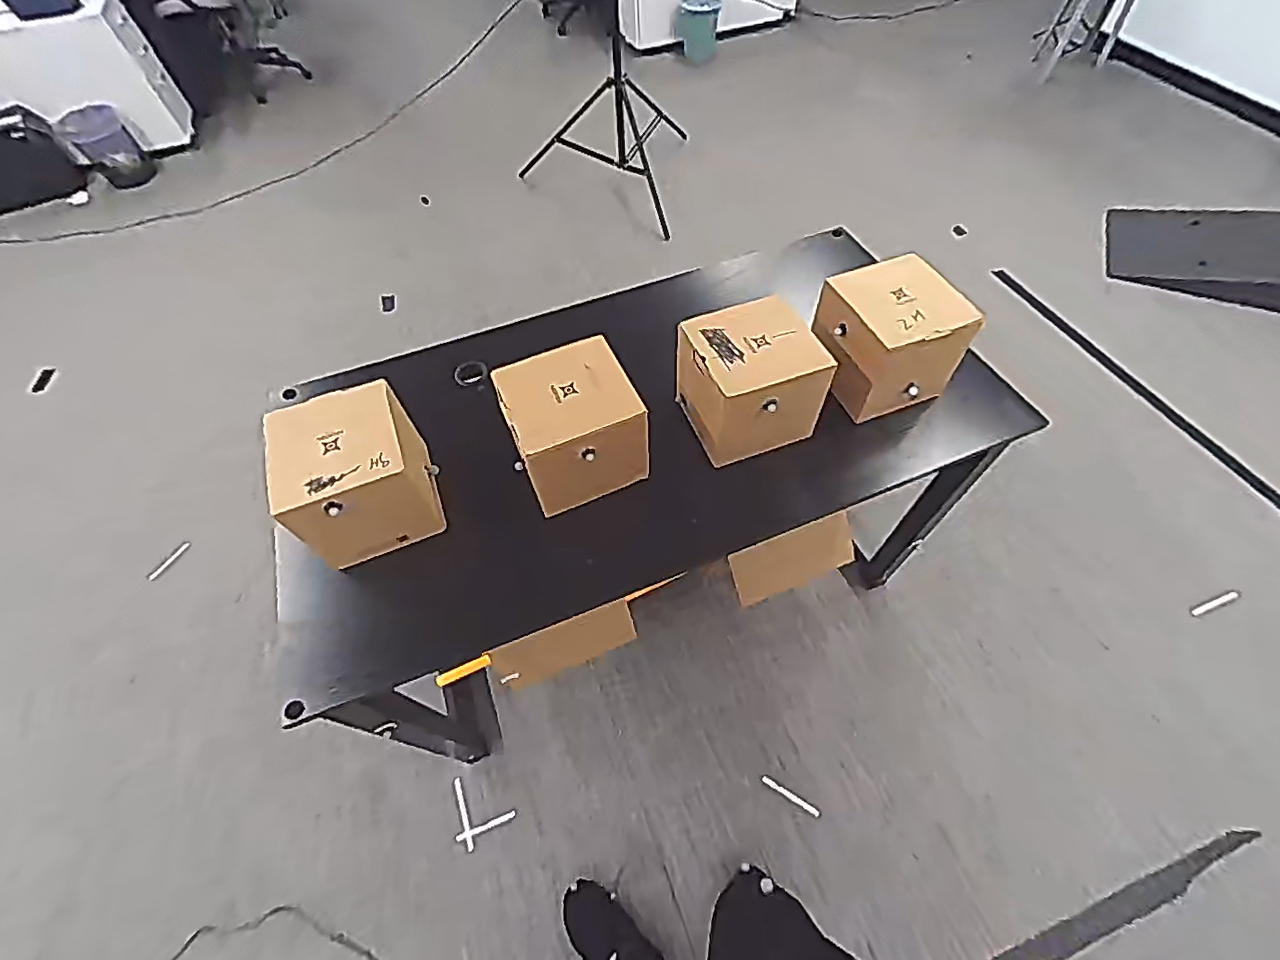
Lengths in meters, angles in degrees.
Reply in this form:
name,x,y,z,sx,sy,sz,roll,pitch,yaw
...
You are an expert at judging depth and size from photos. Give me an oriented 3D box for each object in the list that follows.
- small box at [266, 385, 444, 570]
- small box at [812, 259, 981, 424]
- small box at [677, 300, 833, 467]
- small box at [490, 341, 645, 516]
name,x,y,z,sx,sy,sz,roll,pitch,yaw
small box,-0.402,0.000,0.777,0.168,0.176,0.179,-20,58,-11
small box,0.396,-0.223,0.885,0.168,0.176,0.179,-19,58,-8
small box,0.167,-0.145,0.846,0.179,0.176,0.168,-18,58,-9
small box,-0.101,-0.072,0.813,0.179,0.176,0.168,-22,60,-12
